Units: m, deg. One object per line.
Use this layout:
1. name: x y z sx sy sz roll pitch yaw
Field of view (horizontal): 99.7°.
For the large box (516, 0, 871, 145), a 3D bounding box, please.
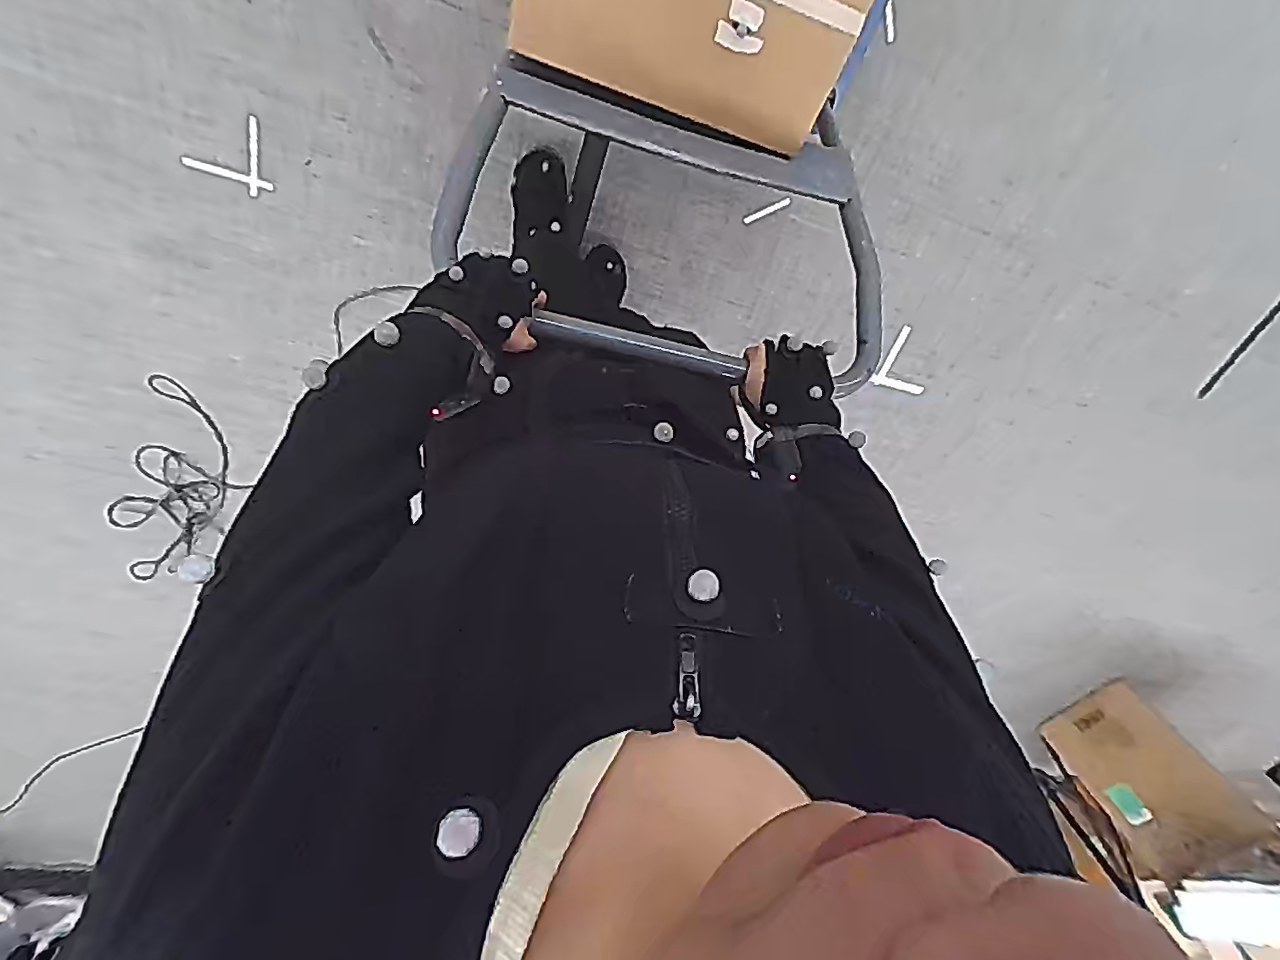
1. large box: 0.078 -0.707 0.686 0.408 0.320 0.320 12 143 -13
